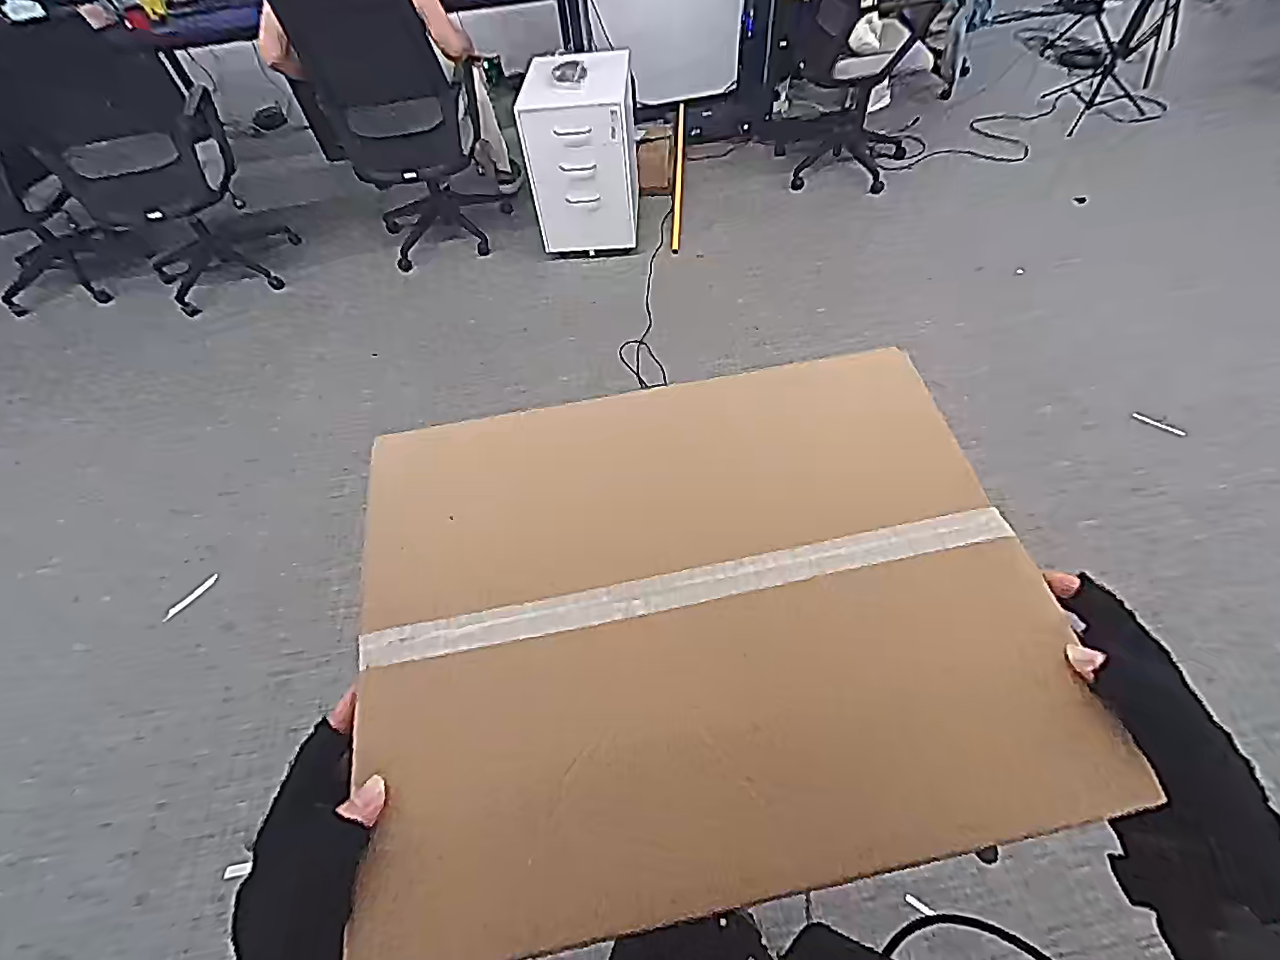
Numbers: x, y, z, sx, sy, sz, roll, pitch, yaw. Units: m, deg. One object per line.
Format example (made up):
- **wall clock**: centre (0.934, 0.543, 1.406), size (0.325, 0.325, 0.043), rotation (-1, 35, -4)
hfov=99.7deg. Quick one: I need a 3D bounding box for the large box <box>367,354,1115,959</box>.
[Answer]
- **large box**: centre (0.039, 0.139, 0.473), size (0.408, 0.320, 0.320), rotation (-11, 61, -3)
